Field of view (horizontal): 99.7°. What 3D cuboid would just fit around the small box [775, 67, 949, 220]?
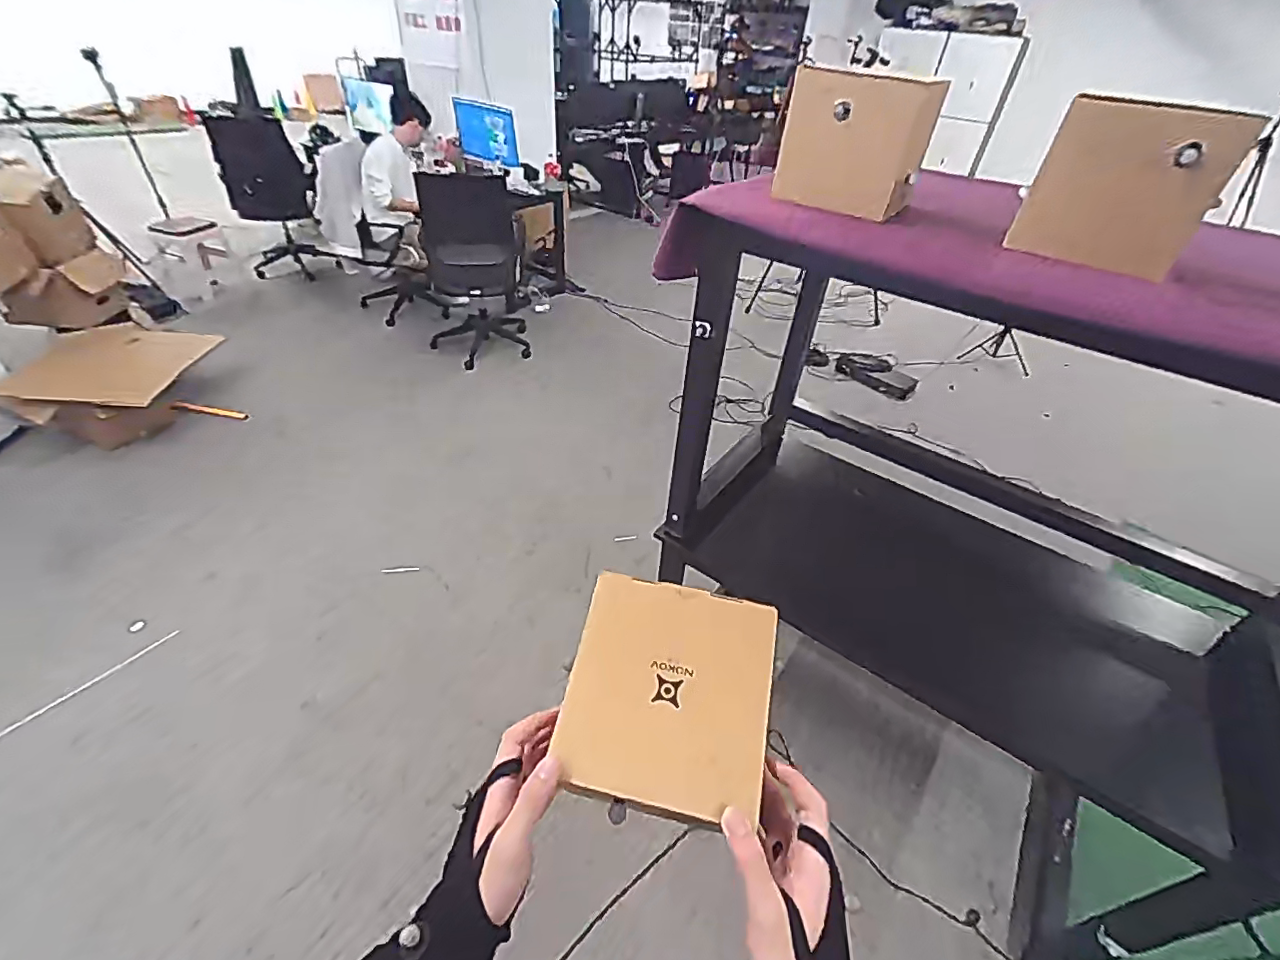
[{"bbox_3d":[0.322,-0.502,0.807,0.179,0.176,0.168,26,44,23],"label":"small box"}]

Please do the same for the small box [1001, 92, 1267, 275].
[{"bbox_3d":[0.594,-0.368,0.671,0.179,0.176,0.168,28,44,26],"label":"small box"}]
